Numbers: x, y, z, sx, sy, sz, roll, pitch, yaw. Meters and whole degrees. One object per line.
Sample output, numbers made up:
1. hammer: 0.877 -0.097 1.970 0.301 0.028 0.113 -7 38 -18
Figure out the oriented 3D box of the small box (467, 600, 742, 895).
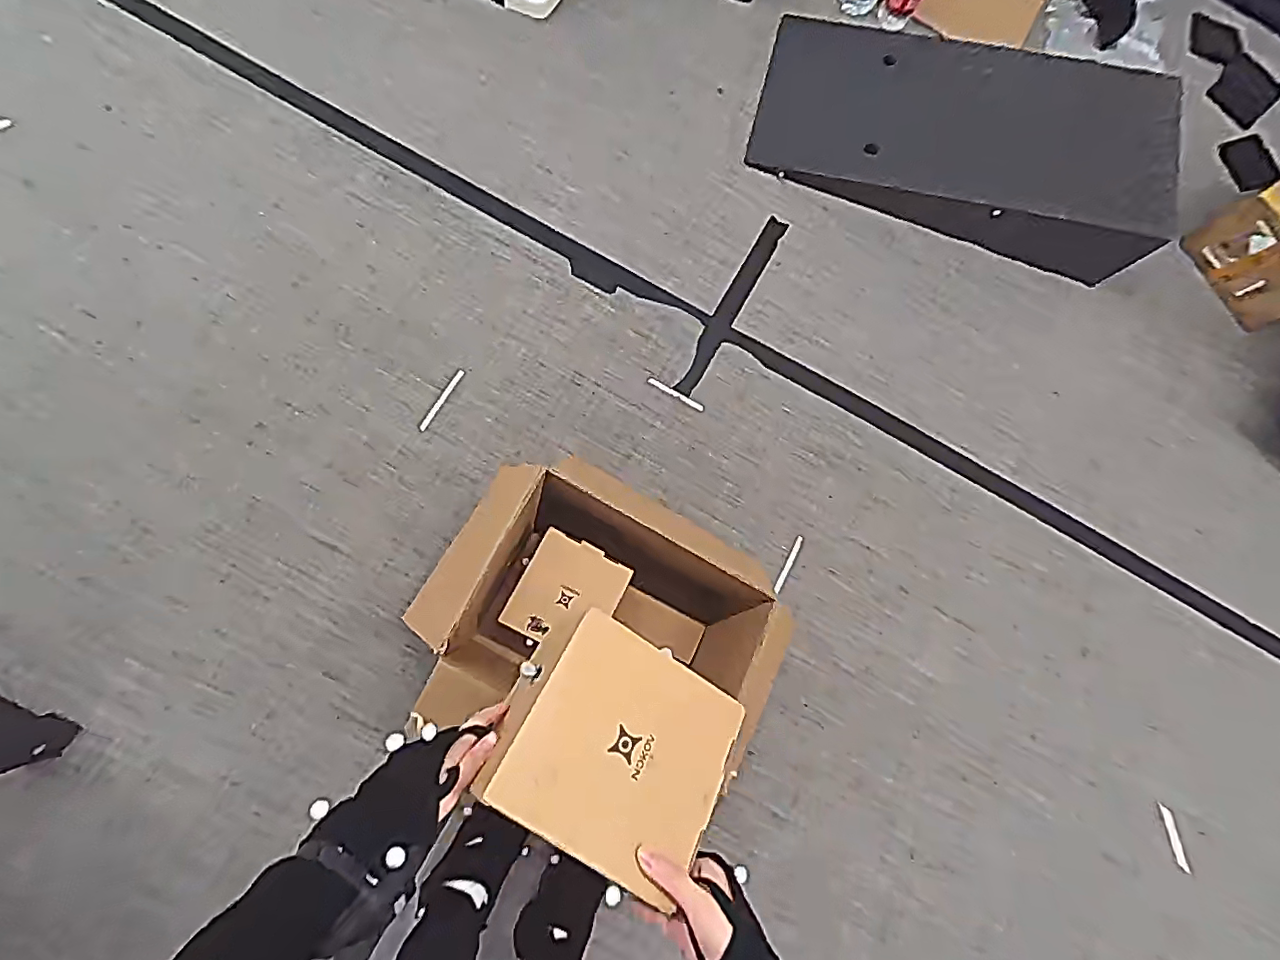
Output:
1. small box: -0.041 0.242 0.511 0.179 0.176 0.168 36 58 -8
